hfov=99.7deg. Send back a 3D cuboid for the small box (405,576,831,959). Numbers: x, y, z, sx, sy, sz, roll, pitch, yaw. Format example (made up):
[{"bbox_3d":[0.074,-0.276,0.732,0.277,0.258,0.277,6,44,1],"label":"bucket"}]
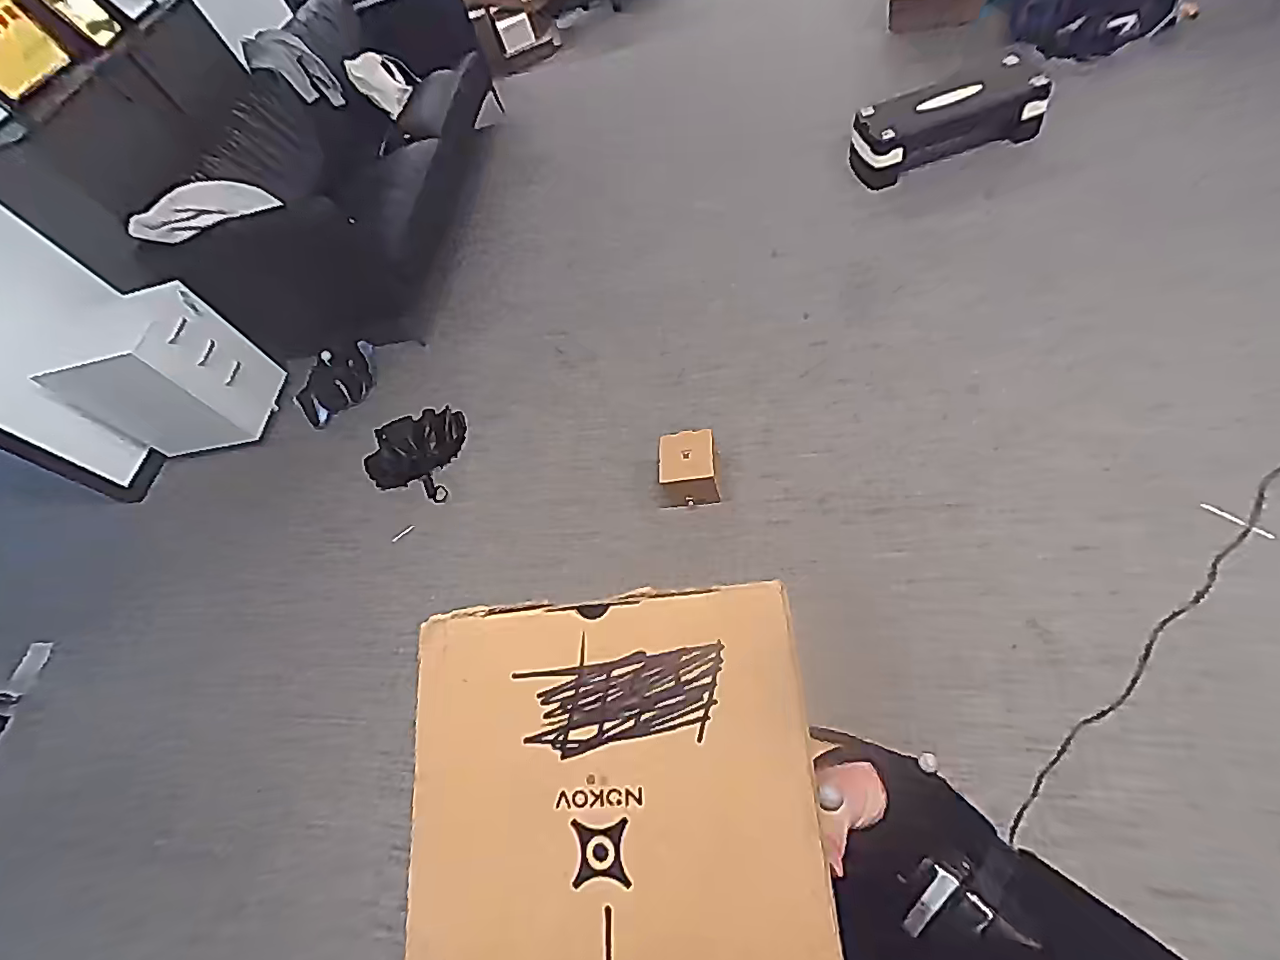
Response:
[{"bbox_3d":[0.000,0.157,0.292,0.168,0.176,0.179,-8,71,11],"label":"small box"}]

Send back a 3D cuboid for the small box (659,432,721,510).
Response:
[{"bbox_3d":[0.159,-0.025,1.712,0.168,0.176,0.179,-8,58,14],"label":"small box"}]
